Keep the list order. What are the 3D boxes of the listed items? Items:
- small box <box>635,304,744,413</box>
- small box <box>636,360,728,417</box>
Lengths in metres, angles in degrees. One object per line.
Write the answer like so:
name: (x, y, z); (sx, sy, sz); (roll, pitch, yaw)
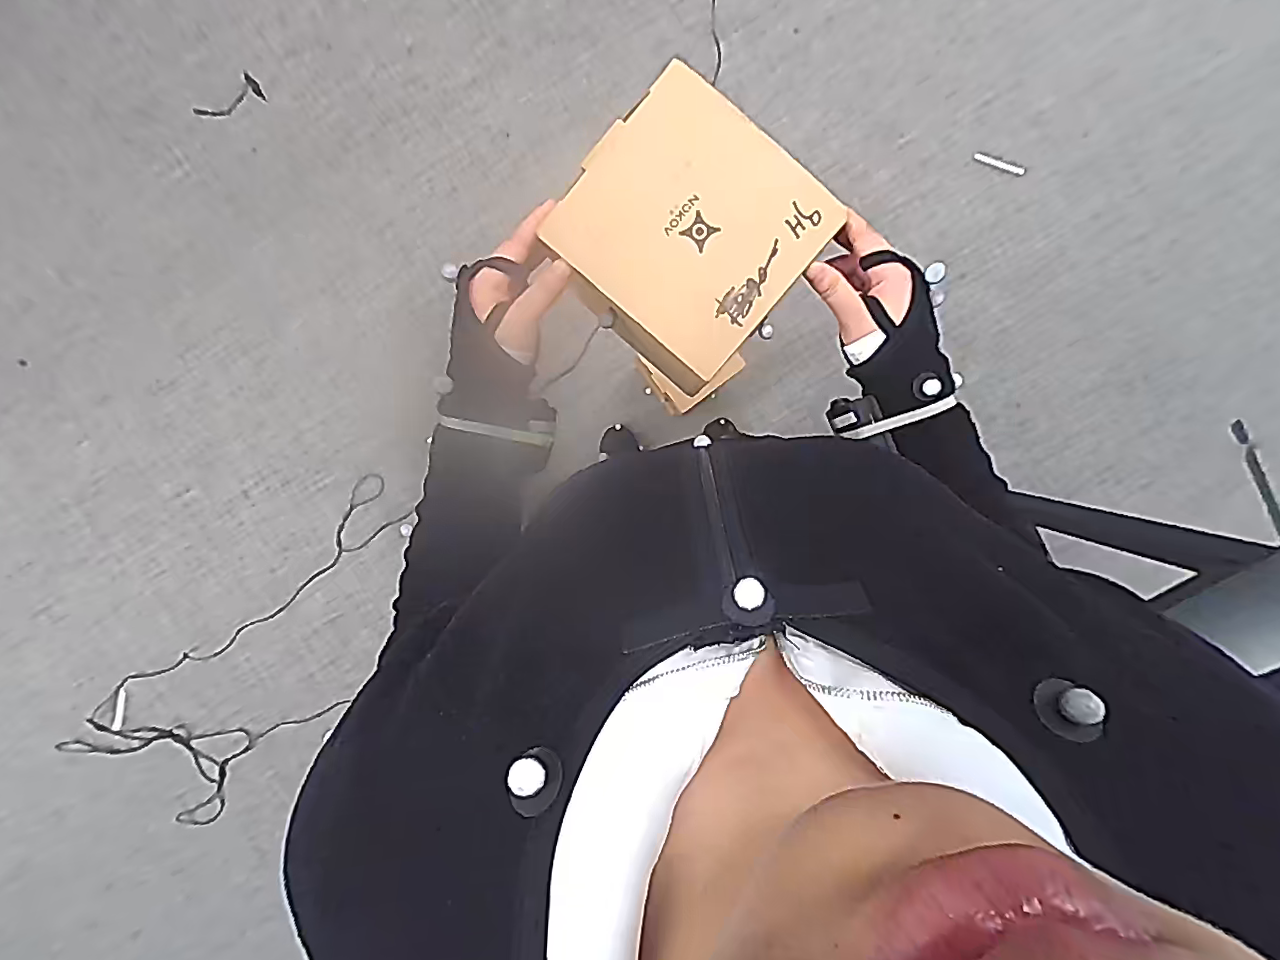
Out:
small box: (0.107, -0.264, 1.225); (0.179, 0.176, 0.168); (-38, 96, 3)
small box: (0.104, -0.278, 1.386); (0.179, 0.176, 0.168); (-34, 95, 5)
